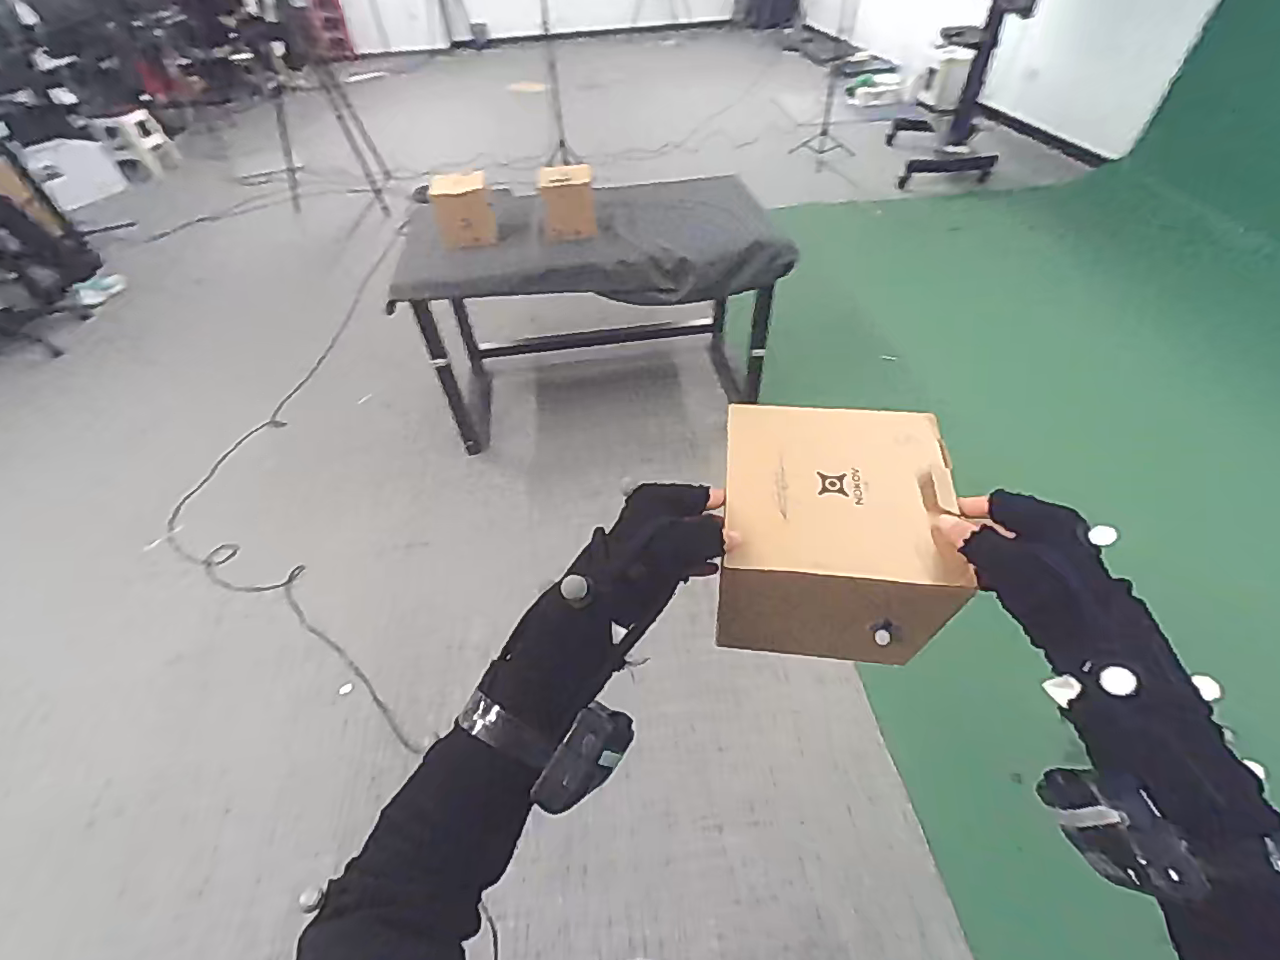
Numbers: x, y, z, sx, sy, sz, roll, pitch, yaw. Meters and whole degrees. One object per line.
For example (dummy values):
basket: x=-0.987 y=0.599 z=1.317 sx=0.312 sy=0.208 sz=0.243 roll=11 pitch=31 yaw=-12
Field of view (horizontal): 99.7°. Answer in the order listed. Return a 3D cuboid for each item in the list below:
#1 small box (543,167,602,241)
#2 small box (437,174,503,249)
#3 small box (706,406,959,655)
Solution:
small box: x=-0.216 y=-0.892 z=1.758 sx=0.168 sy=0.176 sz=0.179 roll=-6 pitch=46 yaw=-2
small box: x=-0.546 y=-0.866 z=1.757 sx=0.168 sy=0.176 sz=0.179 roll=-9 pitch=48 yaw=-4
small box: x=0.153 y=0.051 z=0.496 sx=0.179 sy=0.176 sz=0.168 roll=1 pitch=53 yaw=8
